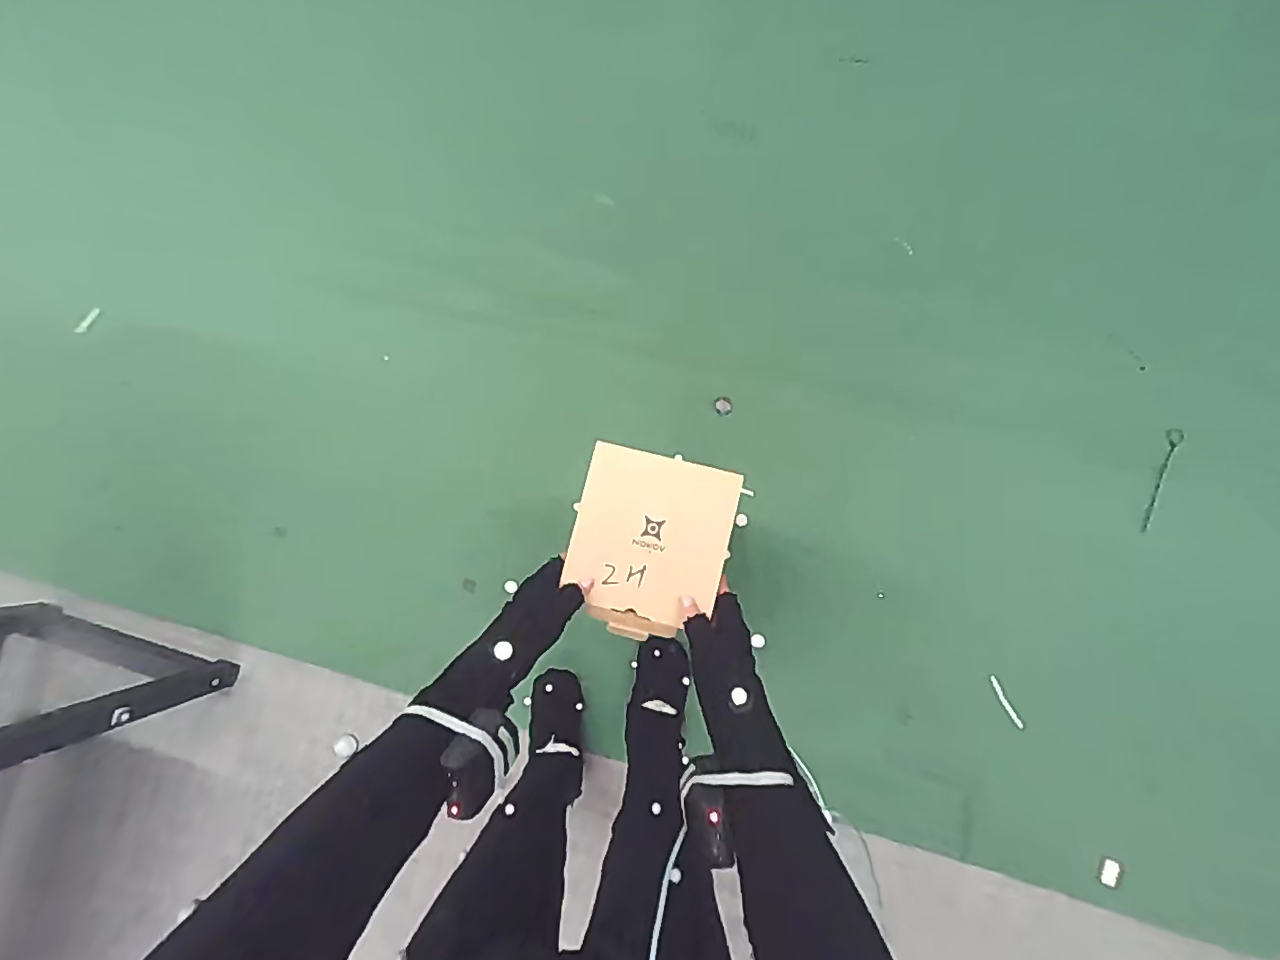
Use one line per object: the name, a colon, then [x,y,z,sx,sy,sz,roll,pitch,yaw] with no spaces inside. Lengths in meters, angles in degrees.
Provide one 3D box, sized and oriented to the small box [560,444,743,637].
small box: [0.018,0.070,0.661,0.168,0.176,0.179,14,86,6]
